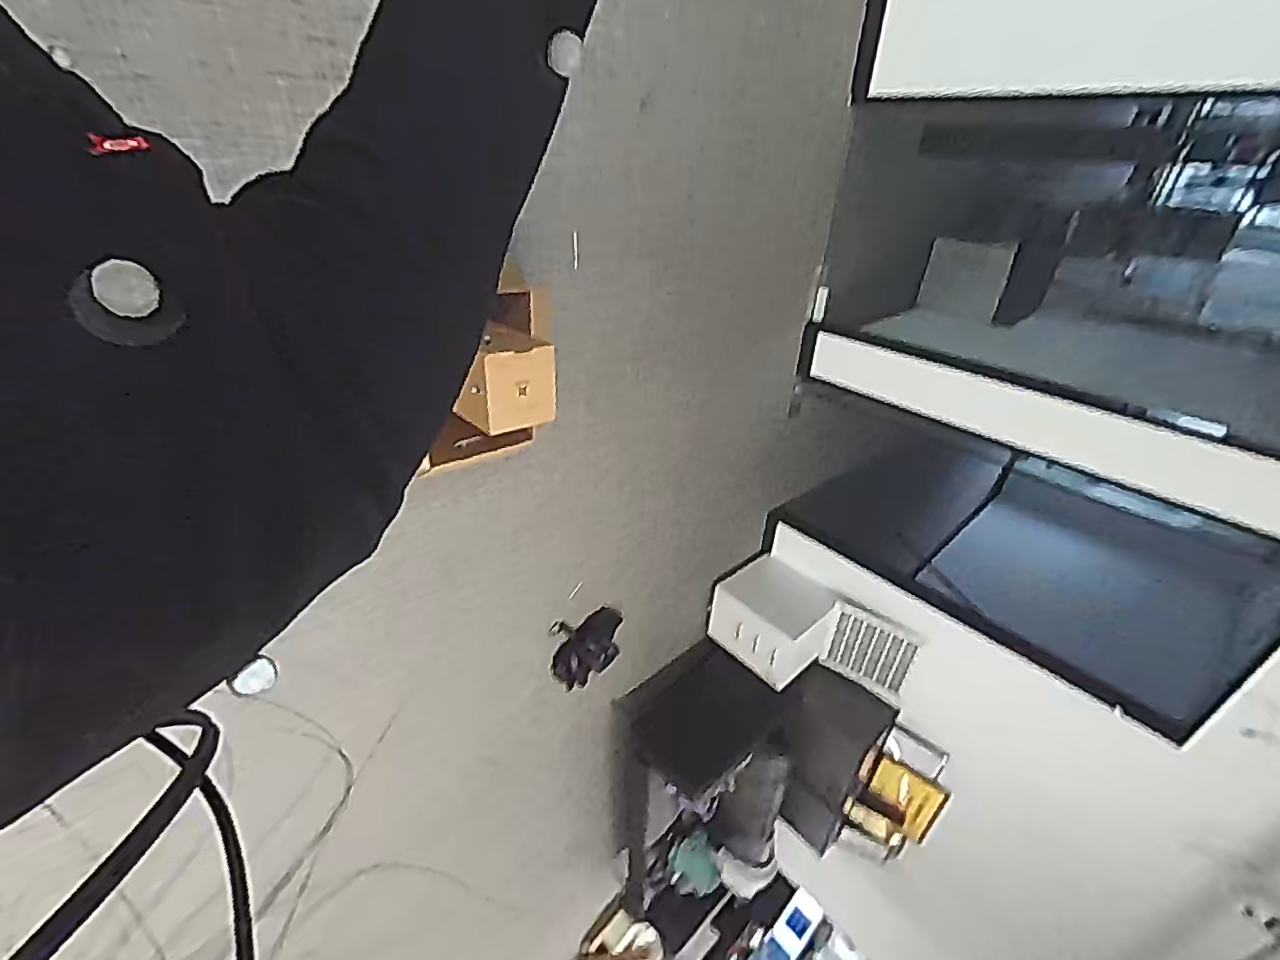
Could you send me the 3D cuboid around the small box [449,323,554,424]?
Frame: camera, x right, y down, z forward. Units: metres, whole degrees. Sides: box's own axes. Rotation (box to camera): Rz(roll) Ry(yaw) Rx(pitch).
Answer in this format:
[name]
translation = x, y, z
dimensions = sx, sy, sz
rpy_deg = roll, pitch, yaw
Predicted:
[small box]
translation = -0.310, -0.247, 1.209
dimensions = 0.168, 0.176, 0.179
rpy_deg = -22, 128, -37
